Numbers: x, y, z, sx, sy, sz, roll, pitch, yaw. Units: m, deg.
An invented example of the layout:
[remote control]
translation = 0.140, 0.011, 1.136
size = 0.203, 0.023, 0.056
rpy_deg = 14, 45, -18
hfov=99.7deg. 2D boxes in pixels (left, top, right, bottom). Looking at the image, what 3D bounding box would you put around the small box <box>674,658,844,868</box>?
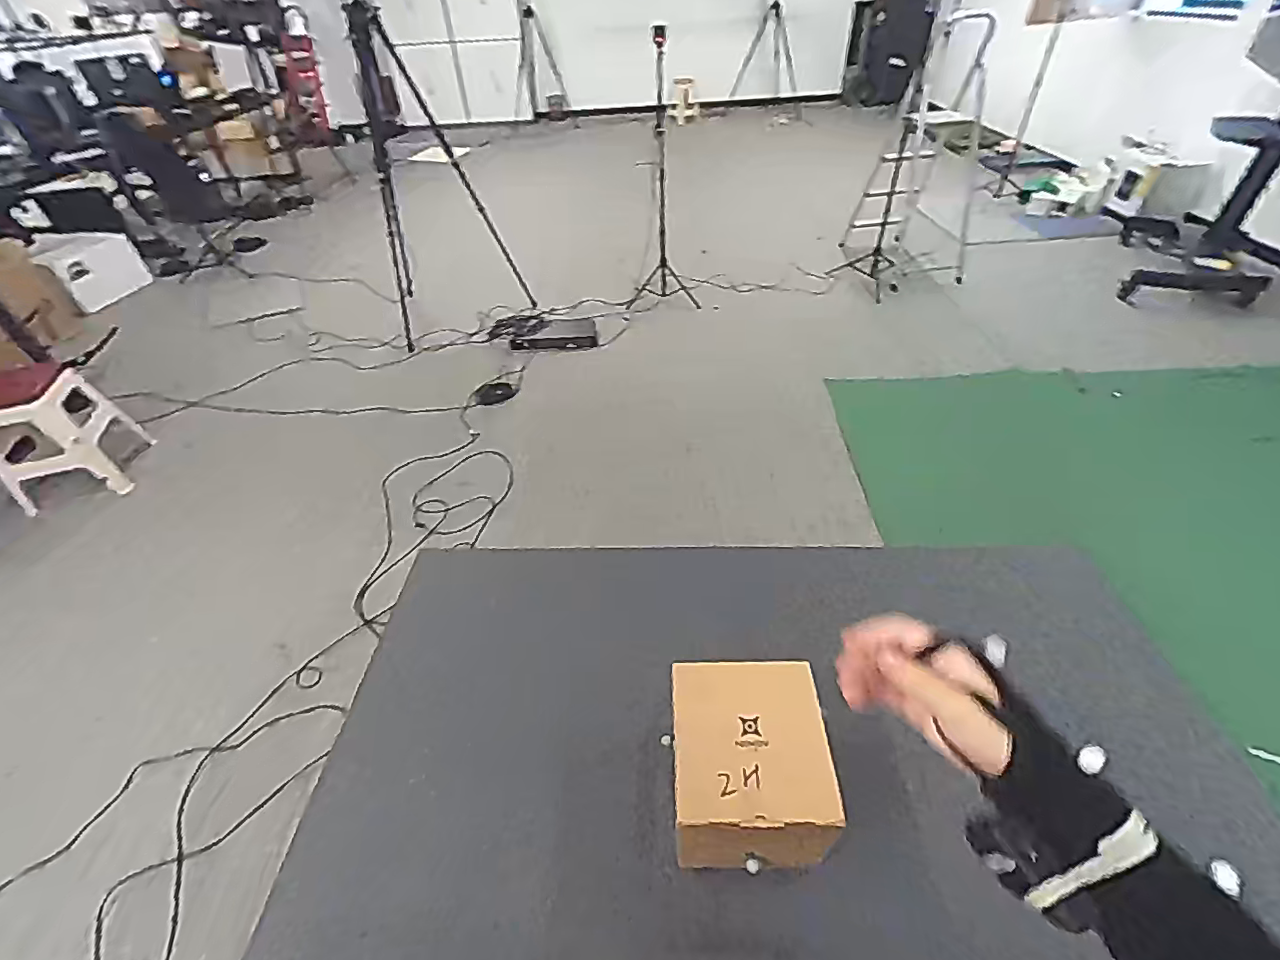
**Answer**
[small box]
translation = 0.123, 0.334, 0.643
size = 0.168, 0.176, 0.179
rpy_deg = -2, 42, 3
